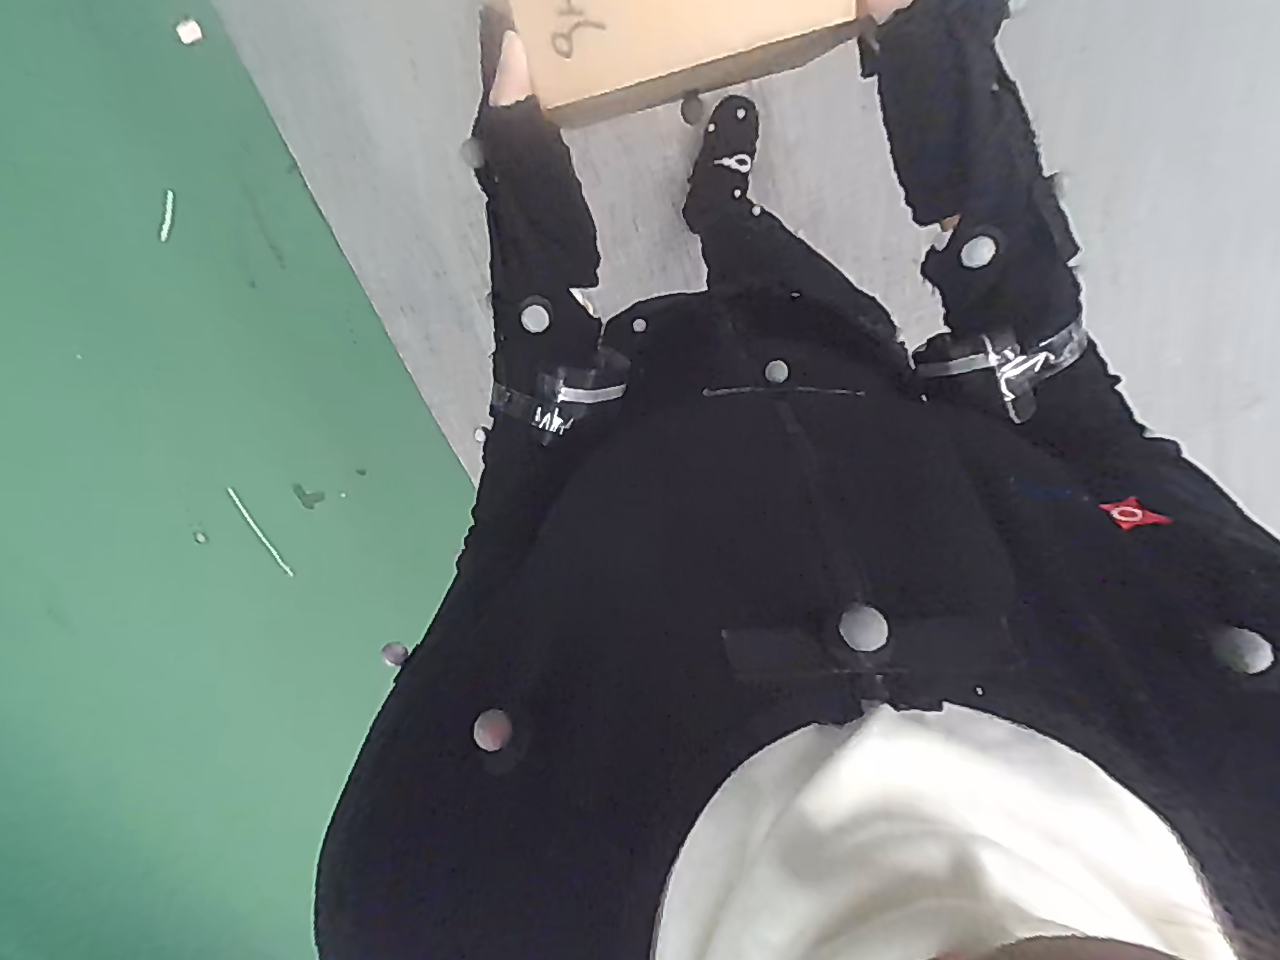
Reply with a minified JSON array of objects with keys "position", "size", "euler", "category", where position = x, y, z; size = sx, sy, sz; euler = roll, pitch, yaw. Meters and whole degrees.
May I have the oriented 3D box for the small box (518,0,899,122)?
[{"position":[0.016,-0.307,0.280],"size":[0.179,0.176,0.168],"euler":[-13,118,4],"category":"small box"}]
